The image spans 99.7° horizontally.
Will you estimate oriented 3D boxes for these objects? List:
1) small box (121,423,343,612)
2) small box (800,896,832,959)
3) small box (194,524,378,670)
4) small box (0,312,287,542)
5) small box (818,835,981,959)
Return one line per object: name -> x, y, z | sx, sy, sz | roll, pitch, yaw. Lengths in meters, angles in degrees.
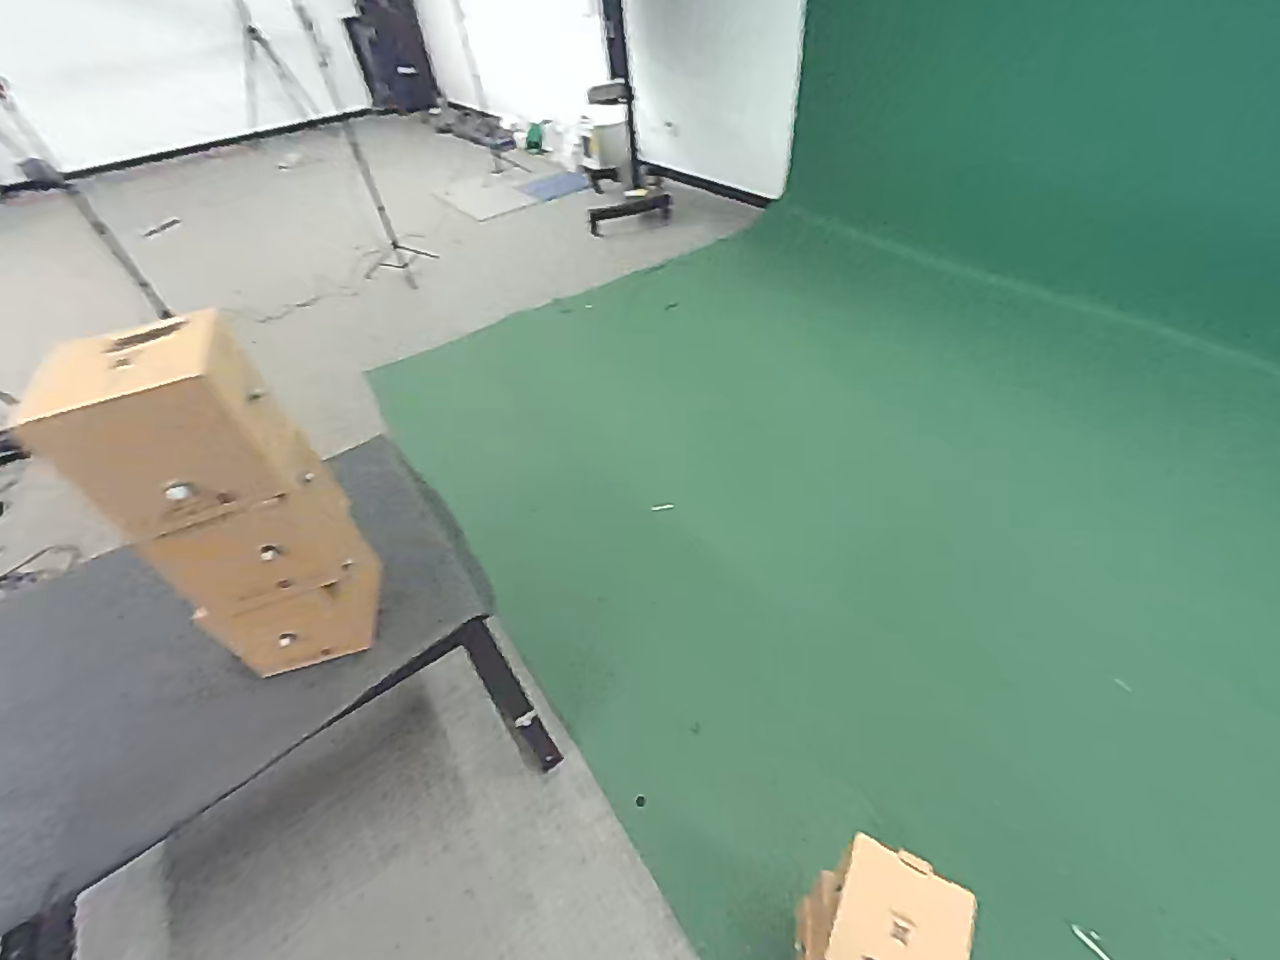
small box -> -0.526, 0.055, 0.732 | 0.168, 0.176, 0.179 | -17, 43, -11
small box -> 0.394, 0.921, 1.017 | 0.168, 0.176, 0.179 | 4, 45, 12
small box -> -0.530, 0.174, 0.844 | 0.168, 0.176, 0.179 | -14, 43, -7
small box -> -0.533, -0.062, 0.617 | 0.168, 0.176, 0.179 | -22, 46, -15
small box -> 0.374, 0.676, 0.798 | 0.168, 0.176, 0.179 | 19, 50, 25
